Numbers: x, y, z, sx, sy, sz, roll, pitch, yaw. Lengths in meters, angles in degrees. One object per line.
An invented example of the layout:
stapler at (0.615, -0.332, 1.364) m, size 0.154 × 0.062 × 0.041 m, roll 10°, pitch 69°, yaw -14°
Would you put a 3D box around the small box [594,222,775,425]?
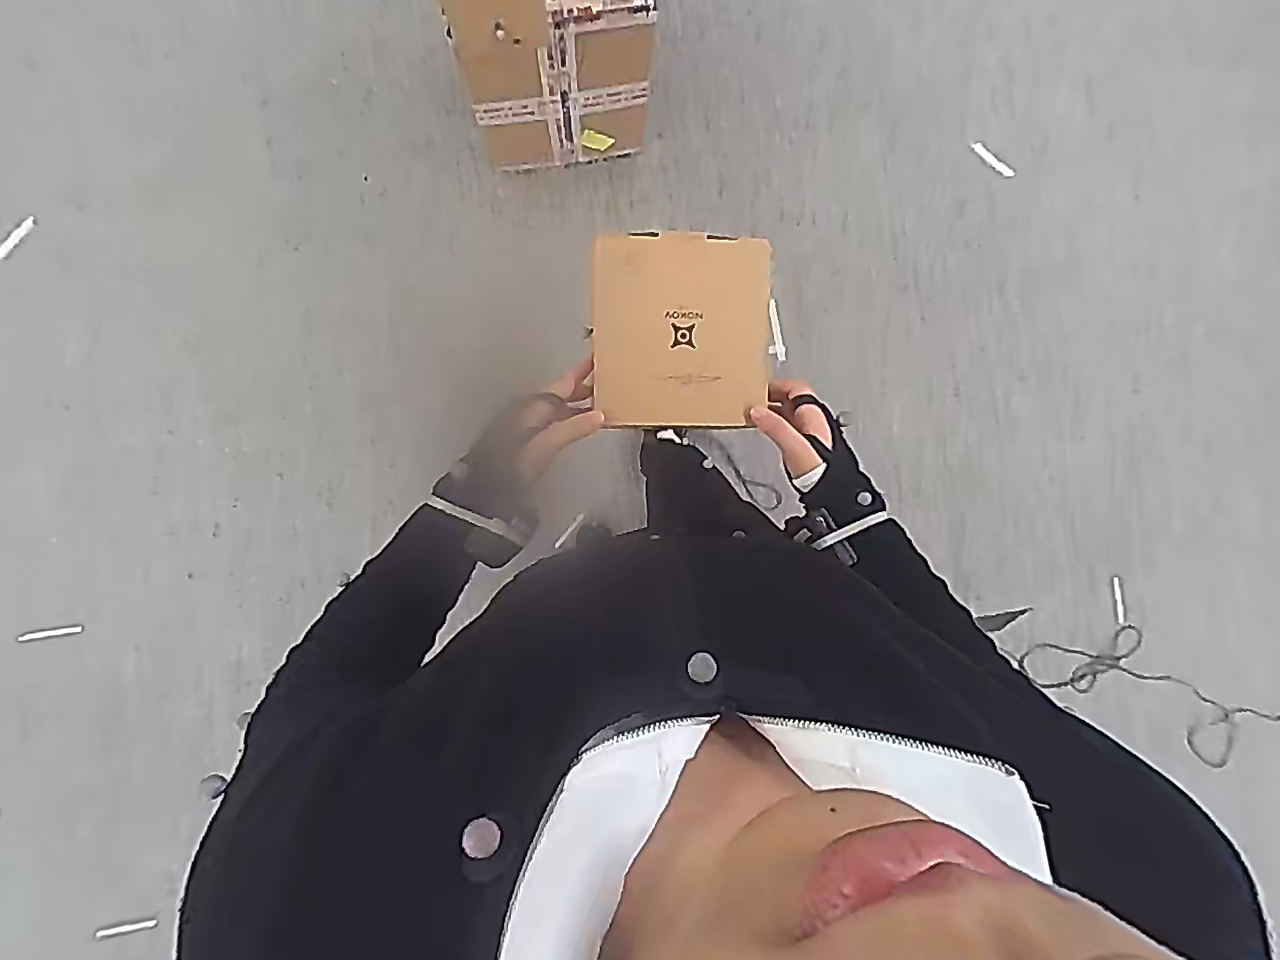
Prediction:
small box at (0.036, -0.152, 0.580) m, size 0.168 × 0.176 × 0.179 m, roll 0°, pitch 94°, yaw -6°
